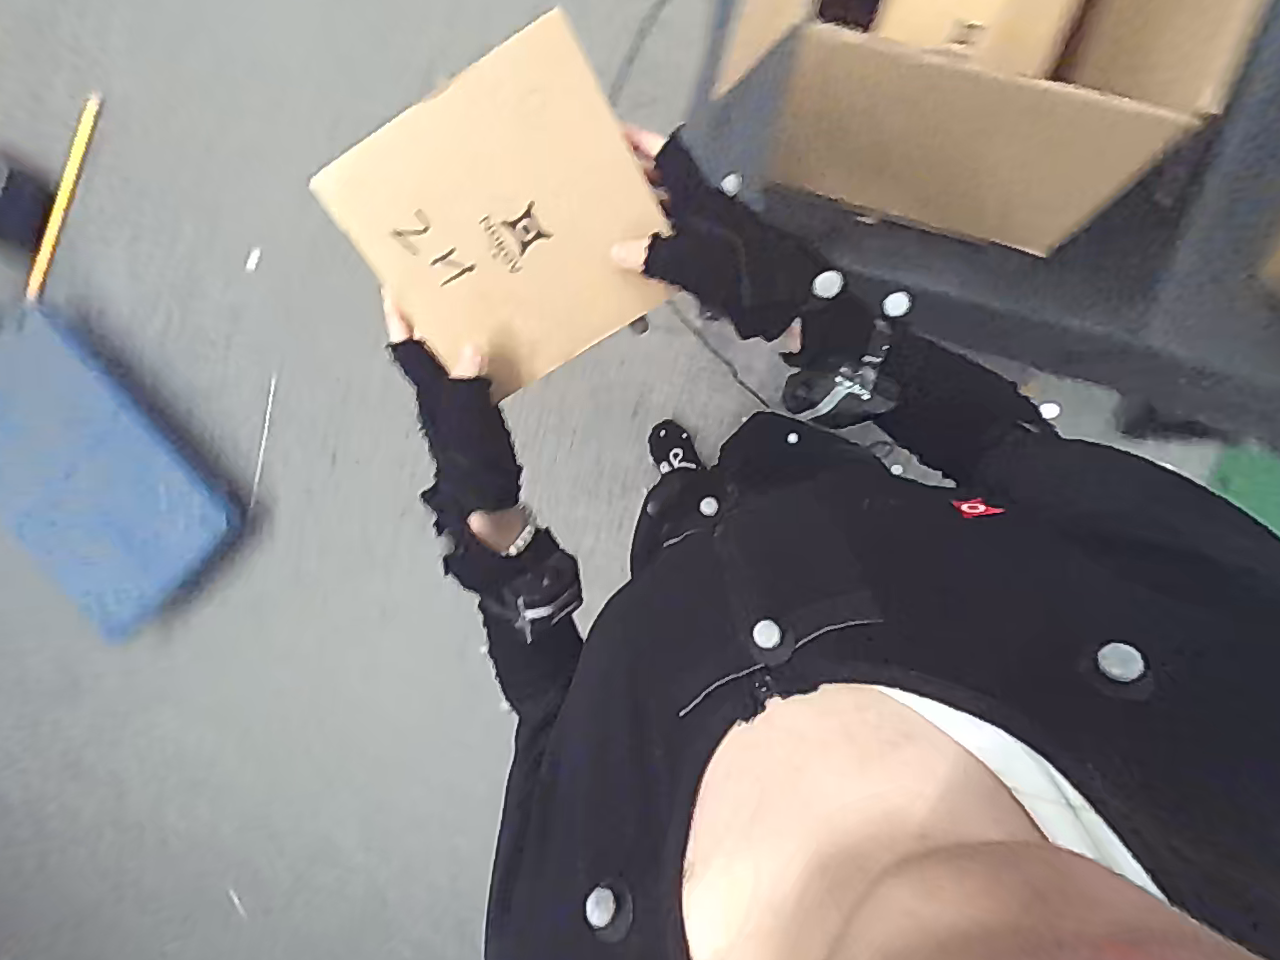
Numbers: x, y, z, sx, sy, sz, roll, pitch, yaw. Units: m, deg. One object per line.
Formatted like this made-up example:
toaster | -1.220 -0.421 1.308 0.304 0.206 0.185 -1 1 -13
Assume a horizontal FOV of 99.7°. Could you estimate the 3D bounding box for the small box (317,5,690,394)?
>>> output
small box | -0.087 -0.194 0.408 0.179 0.176 0.168 -27 114 5
